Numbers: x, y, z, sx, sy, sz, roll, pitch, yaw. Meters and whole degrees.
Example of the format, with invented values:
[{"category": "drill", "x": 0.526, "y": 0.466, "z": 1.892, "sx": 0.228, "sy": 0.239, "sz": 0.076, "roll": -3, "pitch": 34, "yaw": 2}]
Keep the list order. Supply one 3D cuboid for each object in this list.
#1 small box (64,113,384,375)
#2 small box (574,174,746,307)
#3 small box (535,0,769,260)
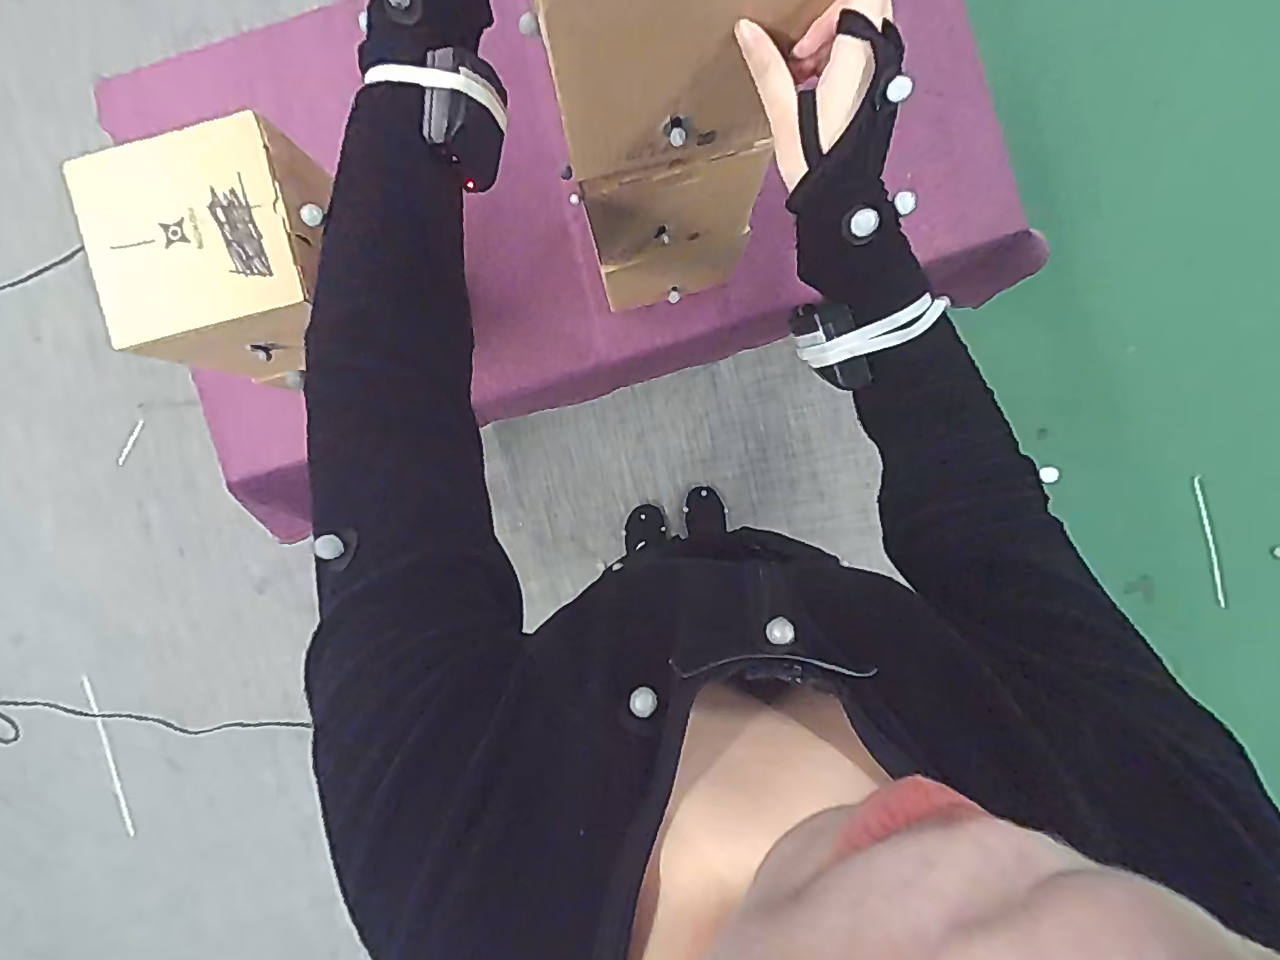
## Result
[{"category": "small box", "x": -0.382, "y": -0.213, "z": 0.538, "sx": 0.179, "sy": 0.176, "sz": 0.168, "roll": -15, "pitch": 92, "yaw": 2}, {"category": "small box", "x": 0.018, "y": -0.340, "z": 0.690, "sx": 0.179, "sy": 0.176, "sz": 0.168, "roll": -15, "pitch": 91, "yaw": 1}, {"category": "small box", "x": 0.010, "y": -0.346, "z": 0.527, "sx": 0.168, "sy": 0.176, "sz": 0.179, "roll": -14, "pitch": 92, "yaw": 2}]
